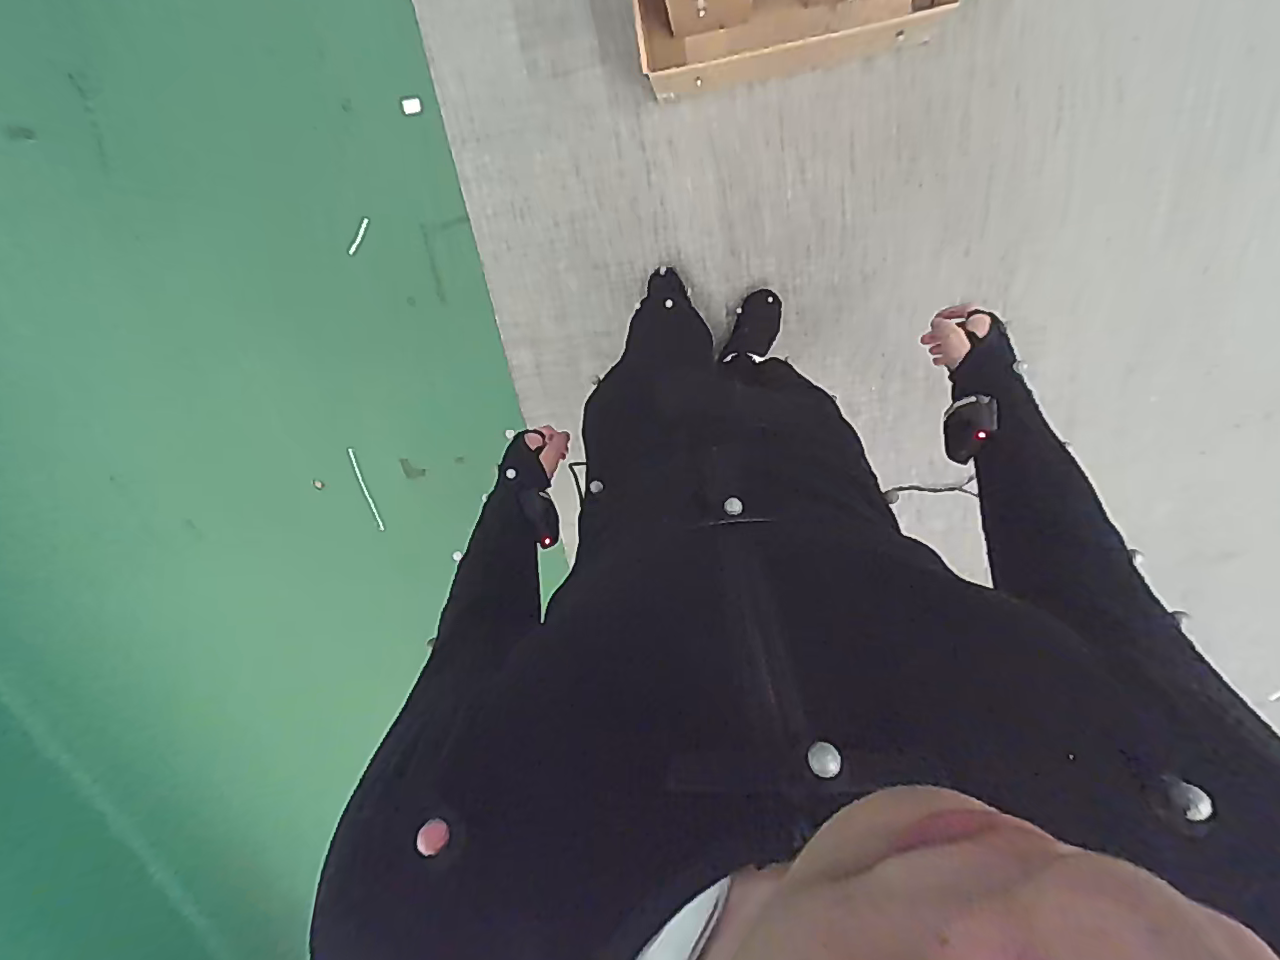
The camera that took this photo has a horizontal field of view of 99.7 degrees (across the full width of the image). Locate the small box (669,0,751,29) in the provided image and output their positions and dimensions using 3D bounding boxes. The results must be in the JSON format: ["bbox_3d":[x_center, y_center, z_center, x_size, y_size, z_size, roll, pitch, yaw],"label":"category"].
[{"bbox_3d":[0.135,-1.035,1.061,0.168,0.176,0.179,-3,113,11],"label":"small box"}]
